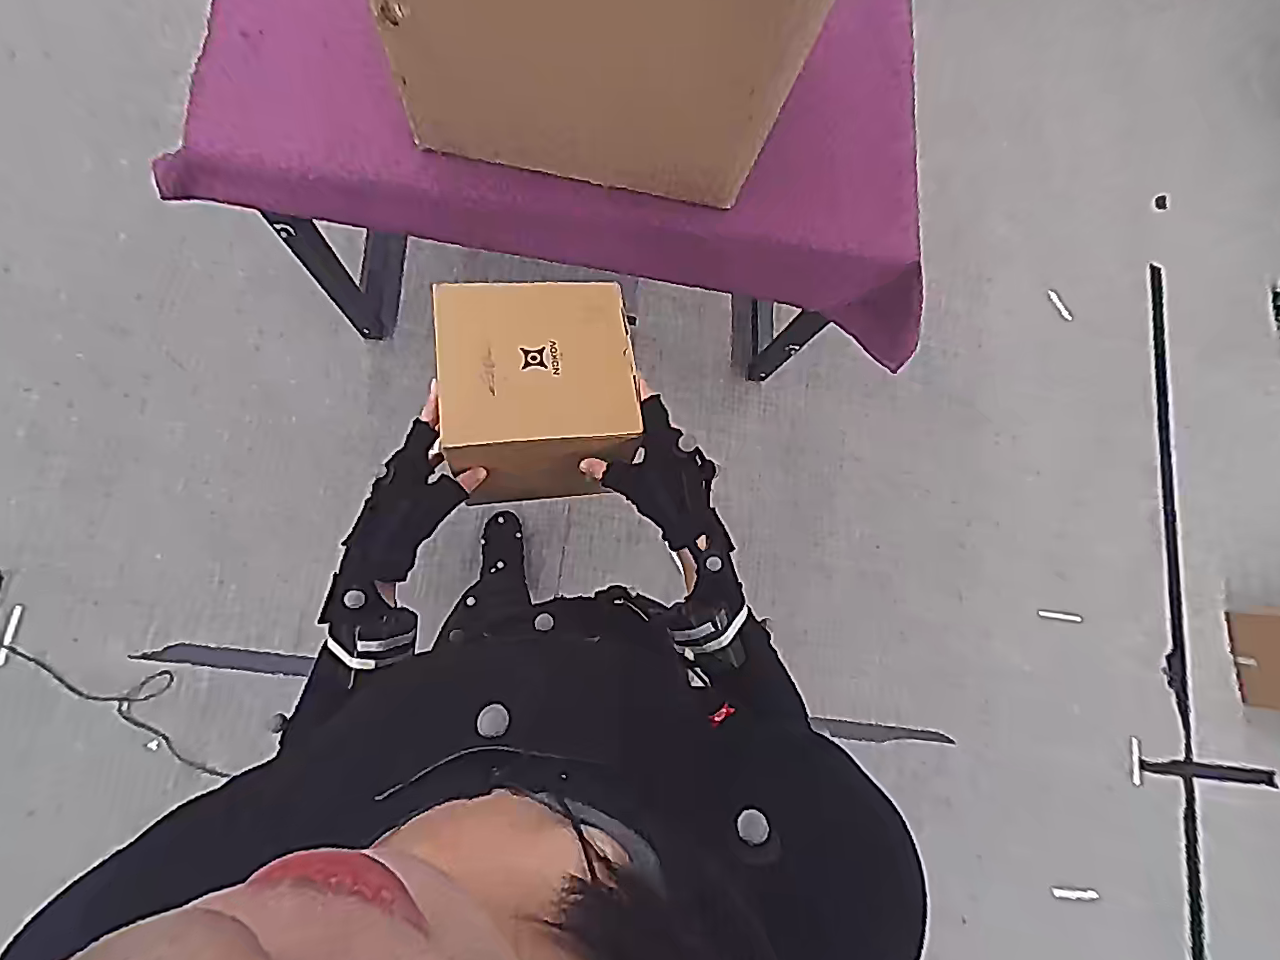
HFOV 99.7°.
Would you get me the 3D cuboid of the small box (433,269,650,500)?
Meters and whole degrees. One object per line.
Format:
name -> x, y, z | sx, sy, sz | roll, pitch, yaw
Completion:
small box -> -0.101, -0.087, 0.543 | 0.179, 0.176, 0.168 | -6, 71, -13
